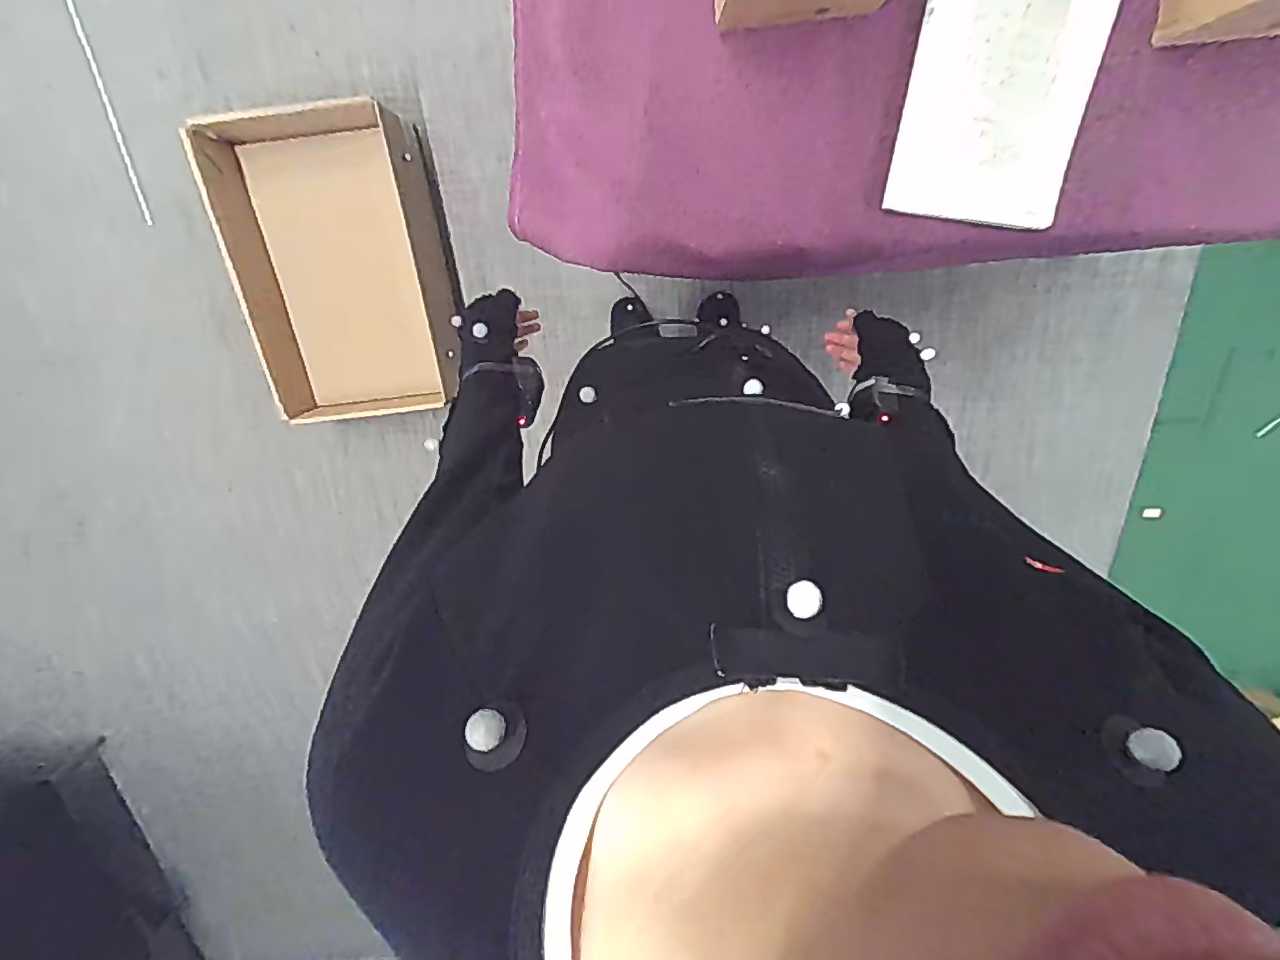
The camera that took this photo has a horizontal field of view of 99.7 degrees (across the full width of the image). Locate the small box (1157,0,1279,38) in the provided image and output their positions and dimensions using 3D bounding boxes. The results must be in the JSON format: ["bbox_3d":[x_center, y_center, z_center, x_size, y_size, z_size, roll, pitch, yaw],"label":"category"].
[{"bbox_3d":[0.613,-0.518,0.468,0.168,0.176,0.179,-5,110,2],"label":"small box"}]
